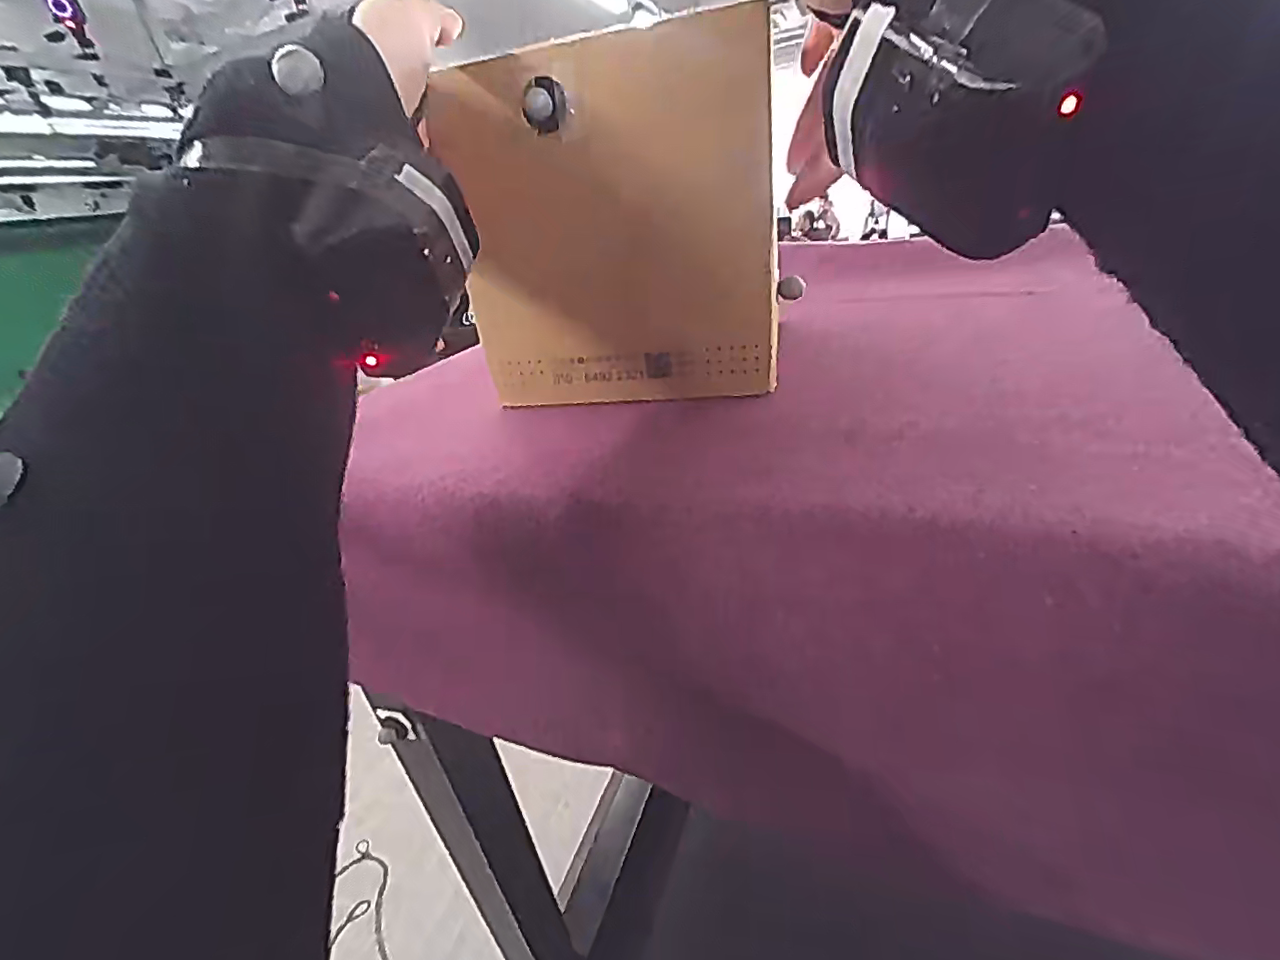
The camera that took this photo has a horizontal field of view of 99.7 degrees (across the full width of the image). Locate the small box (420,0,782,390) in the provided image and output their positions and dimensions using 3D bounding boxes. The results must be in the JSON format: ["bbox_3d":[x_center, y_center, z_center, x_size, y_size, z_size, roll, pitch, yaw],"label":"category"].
[{"bbox_3d":[0.001,-0.162,0.339,0.168,0.176,0.179,-1,28,15],"label":"small box"}]
